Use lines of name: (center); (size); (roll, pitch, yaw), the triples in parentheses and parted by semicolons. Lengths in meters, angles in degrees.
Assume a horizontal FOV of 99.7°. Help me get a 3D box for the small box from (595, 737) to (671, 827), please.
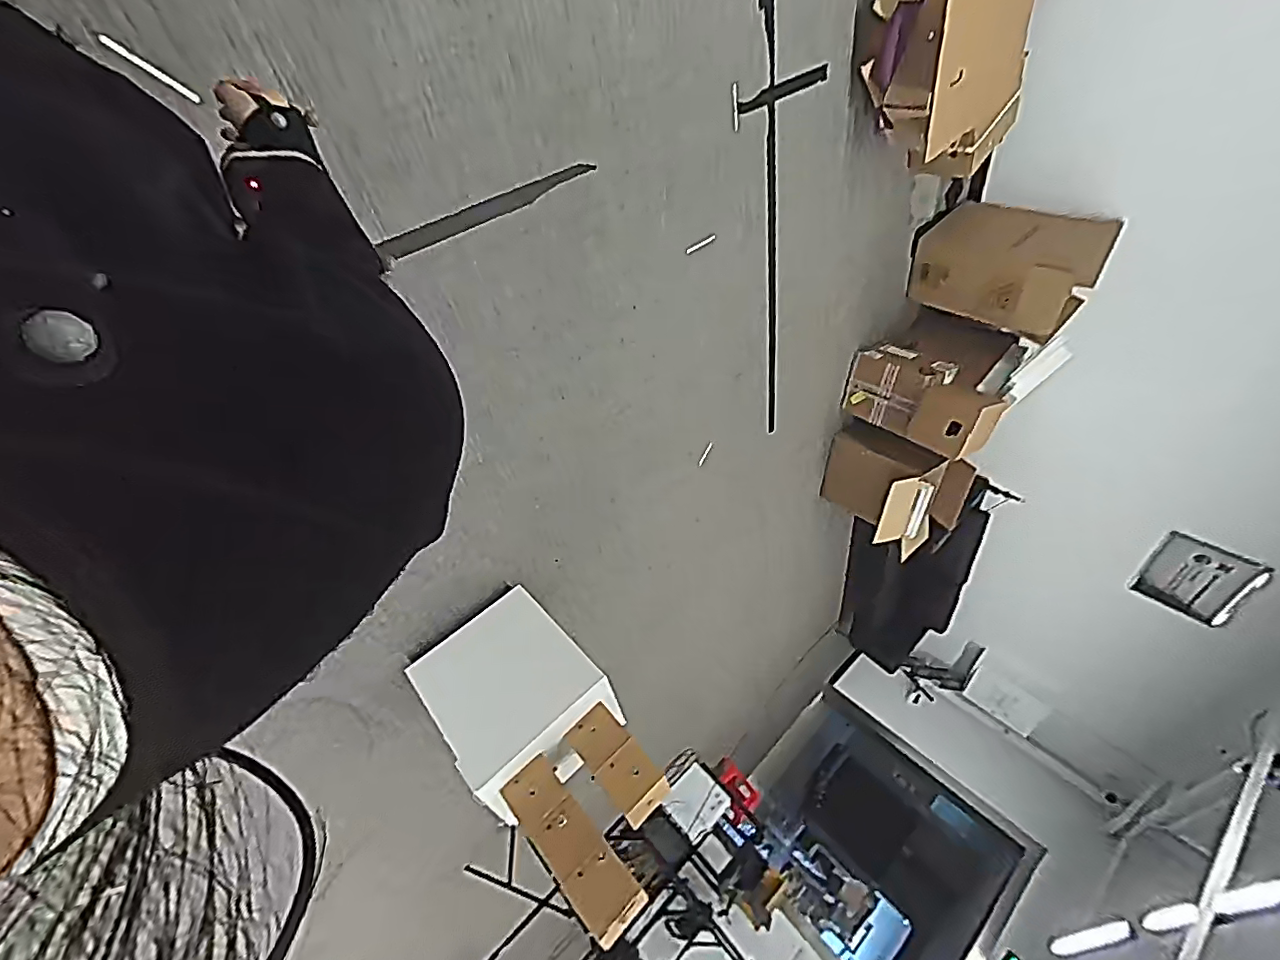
small box: (-0.025, 0.969, 1.749); (0.168, 0.176, 0.179); (-37, 140, -22)

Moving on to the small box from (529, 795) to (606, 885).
small box: (-0.209, 1.100, 1.641); (0.168, 0.176, 0.179); (-37, 139, -26)

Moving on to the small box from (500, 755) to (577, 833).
small box: (-0.320, 1.021, 1.732); (0.168, 0.176, 0.179); (-37, 138, -25)

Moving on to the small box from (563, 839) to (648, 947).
small box: (-0.100, 1.171, 1.541); (0.168, 0.176, 0.179); (-36, 140, -27)

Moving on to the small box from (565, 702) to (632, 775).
small box: (-0.130, 0.898, 1.850); (0.168, 0.176, 0.179); (-38, 139, -22)
